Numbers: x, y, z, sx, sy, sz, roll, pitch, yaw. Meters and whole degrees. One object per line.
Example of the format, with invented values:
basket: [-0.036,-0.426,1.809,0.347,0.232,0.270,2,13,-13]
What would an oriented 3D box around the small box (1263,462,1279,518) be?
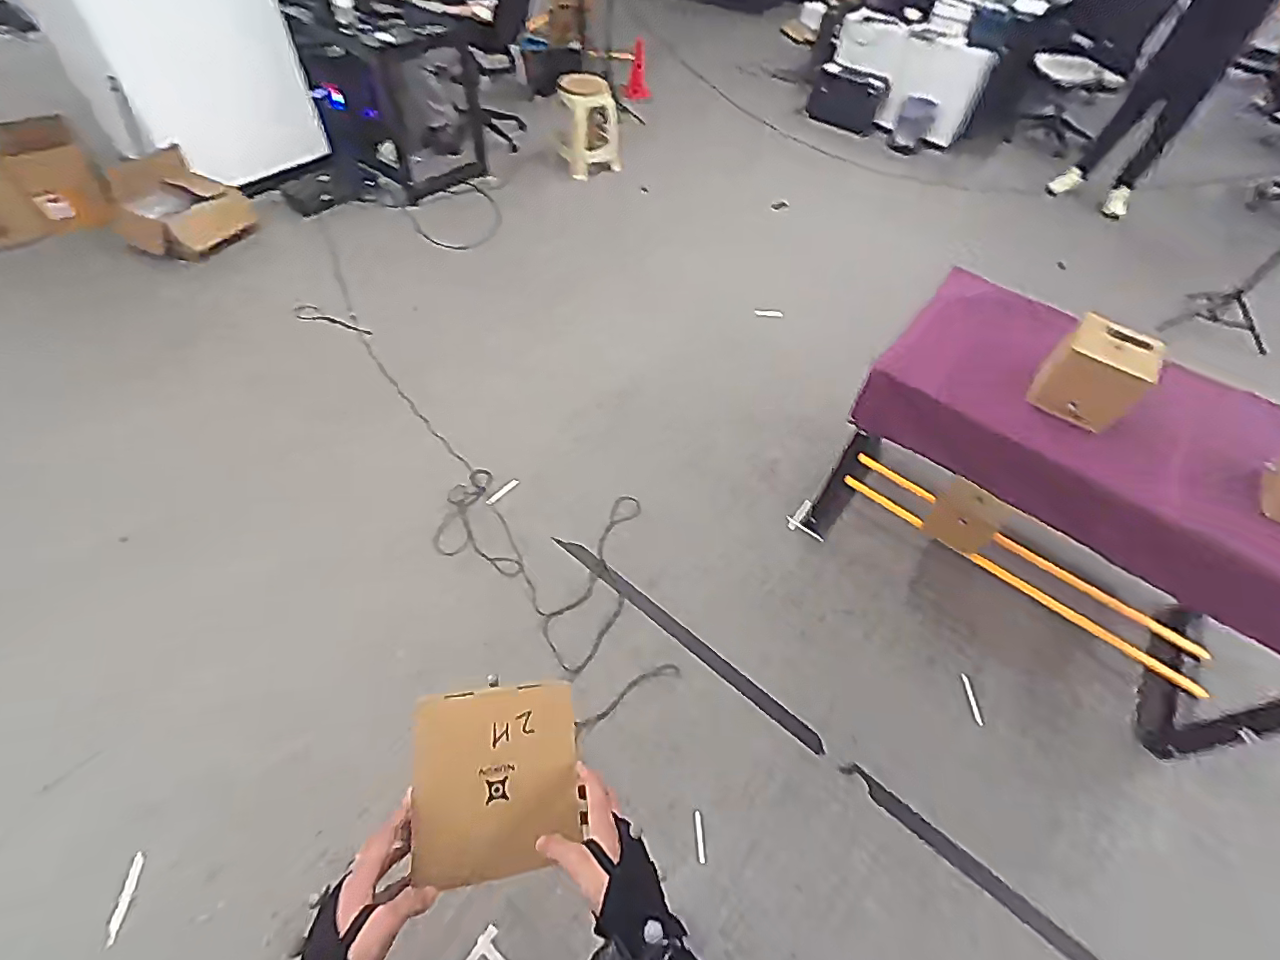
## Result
small box: [1.433,0.016,1.089,0.179,0.176,0.168,34,58,19]

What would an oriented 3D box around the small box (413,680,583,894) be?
small box: [-0.163,0.333,0.627,0.168,0.176,0.179,0,71,-17]

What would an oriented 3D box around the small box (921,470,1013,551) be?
small box: [1.063,0.108,1.767,0.179,0.176,0.168,33,57,19]
